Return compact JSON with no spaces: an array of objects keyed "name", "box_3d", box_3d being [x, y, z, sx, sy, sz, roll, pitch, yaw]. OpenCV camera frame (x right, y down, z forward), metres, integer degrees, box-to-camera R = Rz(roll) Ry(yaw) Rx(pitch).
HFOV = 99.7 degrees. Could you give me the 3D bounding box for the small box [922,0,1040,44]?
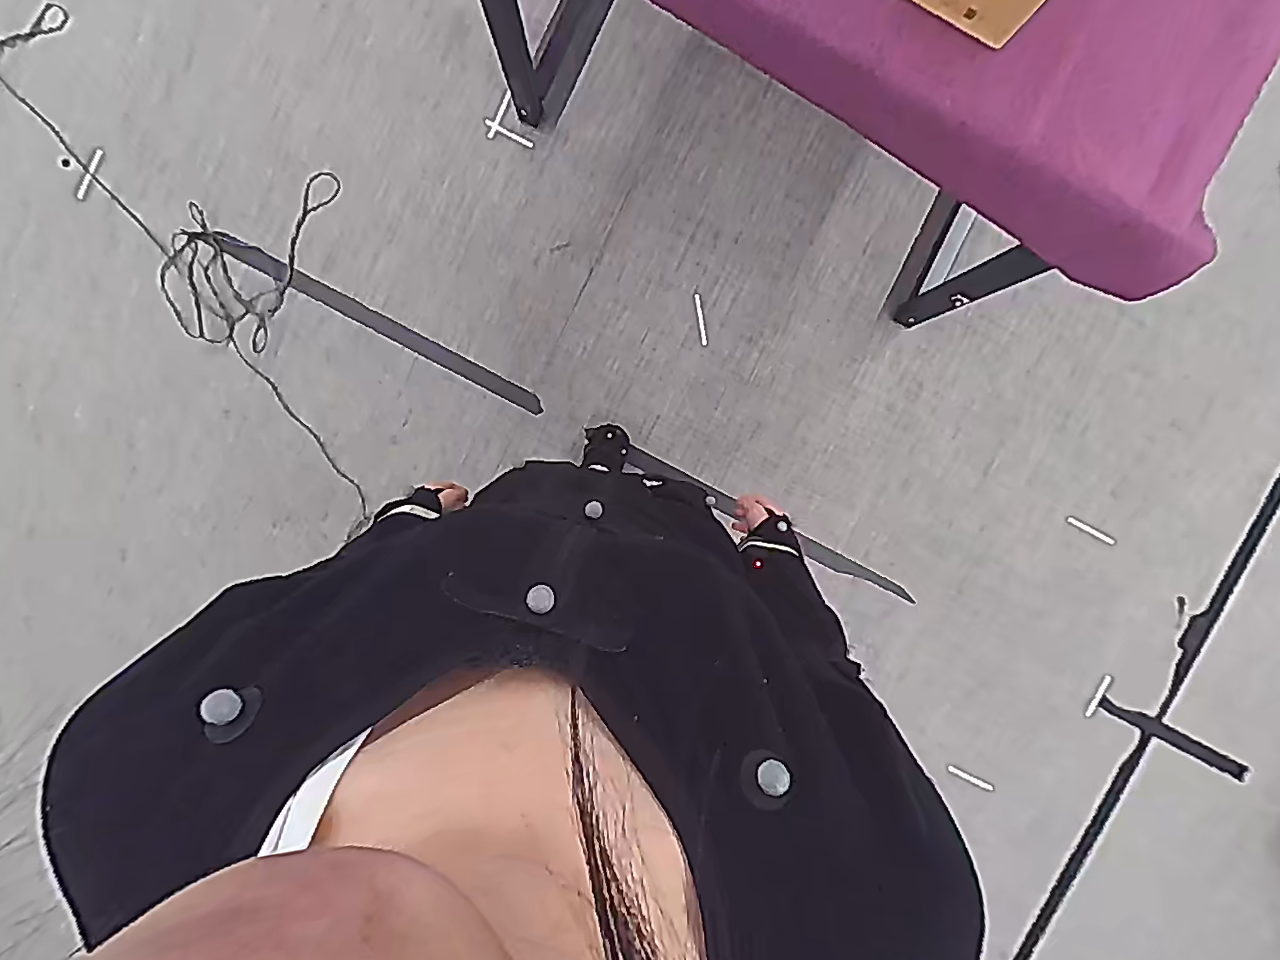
[{"name":"small box","box_3d":[0.457,-0.694,0.653,0.168,0.176,0.179,27,92,-3]}]
